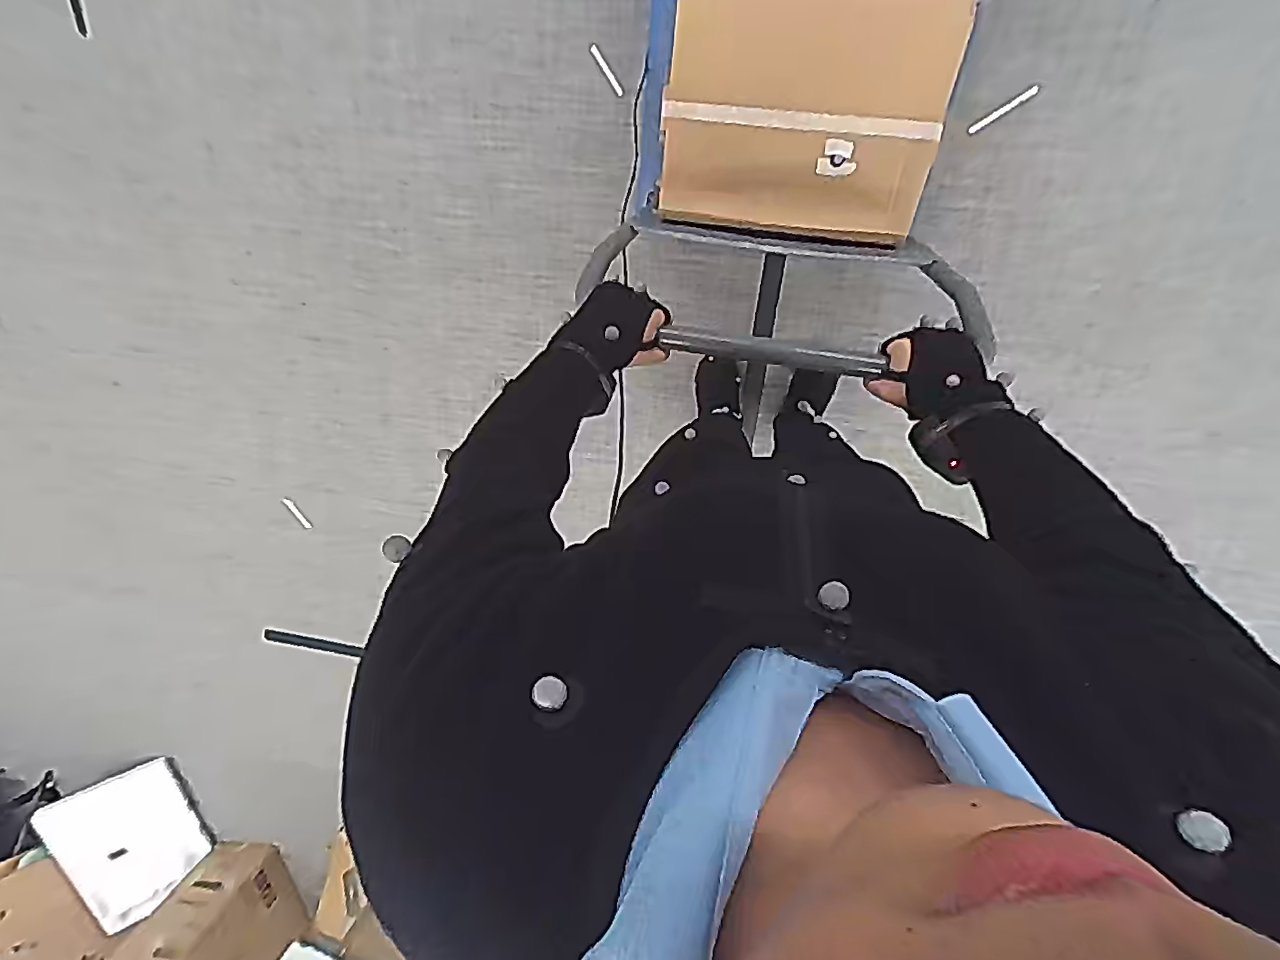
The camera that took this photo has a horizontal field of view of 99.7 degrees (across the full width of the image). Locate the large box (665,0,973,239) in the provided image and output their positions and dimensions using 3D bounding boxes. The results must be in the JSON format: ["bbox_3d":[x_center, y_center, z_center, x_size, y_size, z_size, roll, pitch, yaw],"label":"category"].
[{"bbox_3d":[0.268,-0.622,0.950,0.408,0.320,0.320,9,122,6],"label":"large box"}]
